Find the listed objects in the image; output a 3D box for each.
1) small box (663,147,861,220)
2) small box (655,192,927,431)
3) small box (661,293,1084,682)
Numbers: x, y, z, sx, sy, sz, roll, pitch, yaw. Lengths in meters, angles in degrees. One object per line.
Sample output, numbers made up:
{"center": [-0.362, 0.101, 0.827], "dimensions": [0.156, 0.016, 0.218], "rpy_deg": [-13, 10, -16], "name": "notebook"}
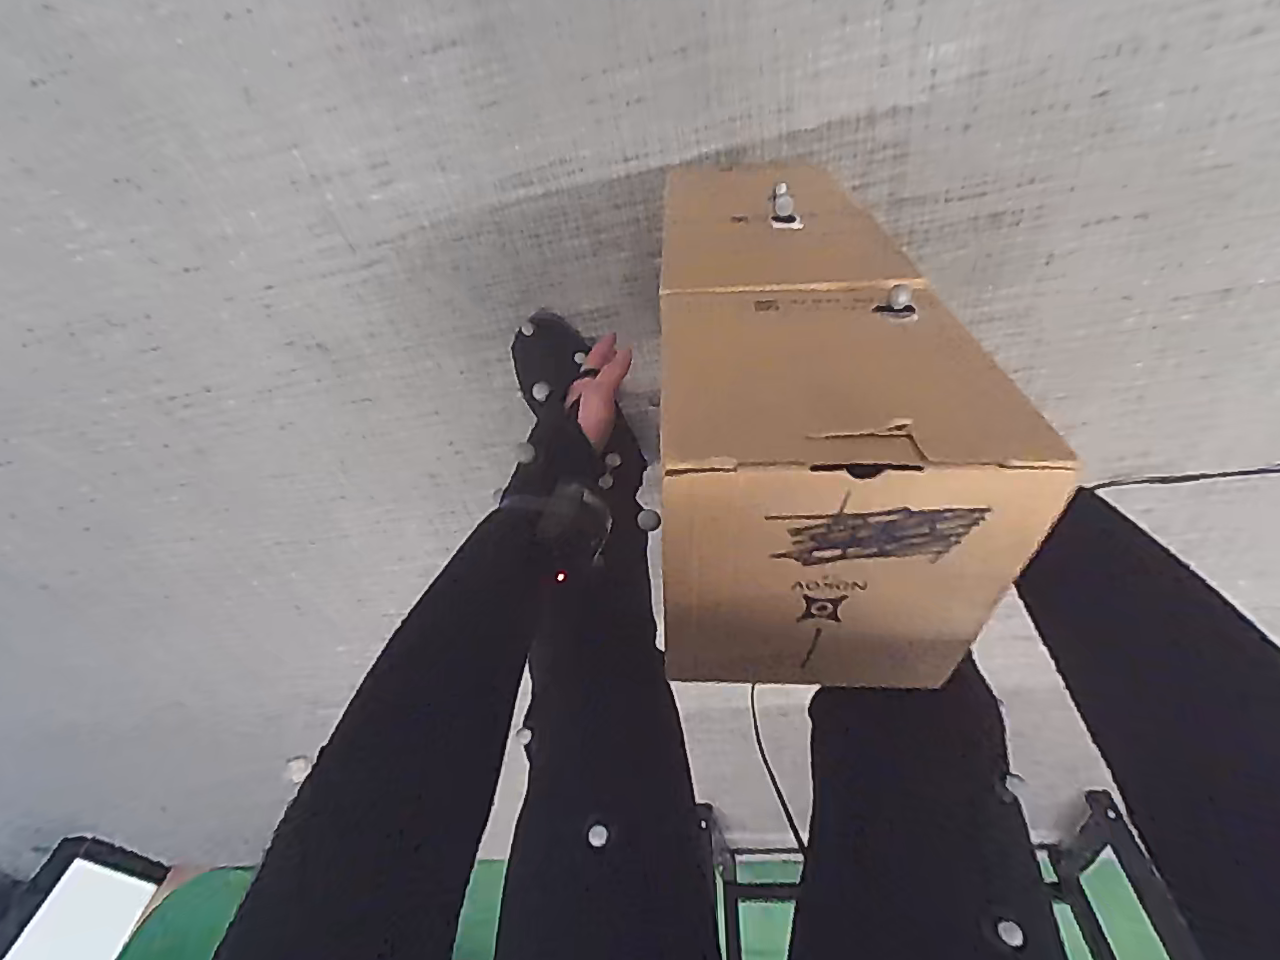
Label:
{"center": [0.110, -0.224, 0.560], "dimensions": [0.168, 0.176, 0.179], "rpy_deg": [1, 133, 5], "name": "small box"}
{"center": [0.101, -0.114, 0.441], "dimensions": [0.168, 0.176, 0.179], "rpy_deg": [-1, 131, 5], "name": "small box"}
{"center": [0.096, 0.001, 0.324], "dimensions": [0.168, 0.176, 0.179], "rpy_deg": [0, 134, 4], "name": "small box"}
